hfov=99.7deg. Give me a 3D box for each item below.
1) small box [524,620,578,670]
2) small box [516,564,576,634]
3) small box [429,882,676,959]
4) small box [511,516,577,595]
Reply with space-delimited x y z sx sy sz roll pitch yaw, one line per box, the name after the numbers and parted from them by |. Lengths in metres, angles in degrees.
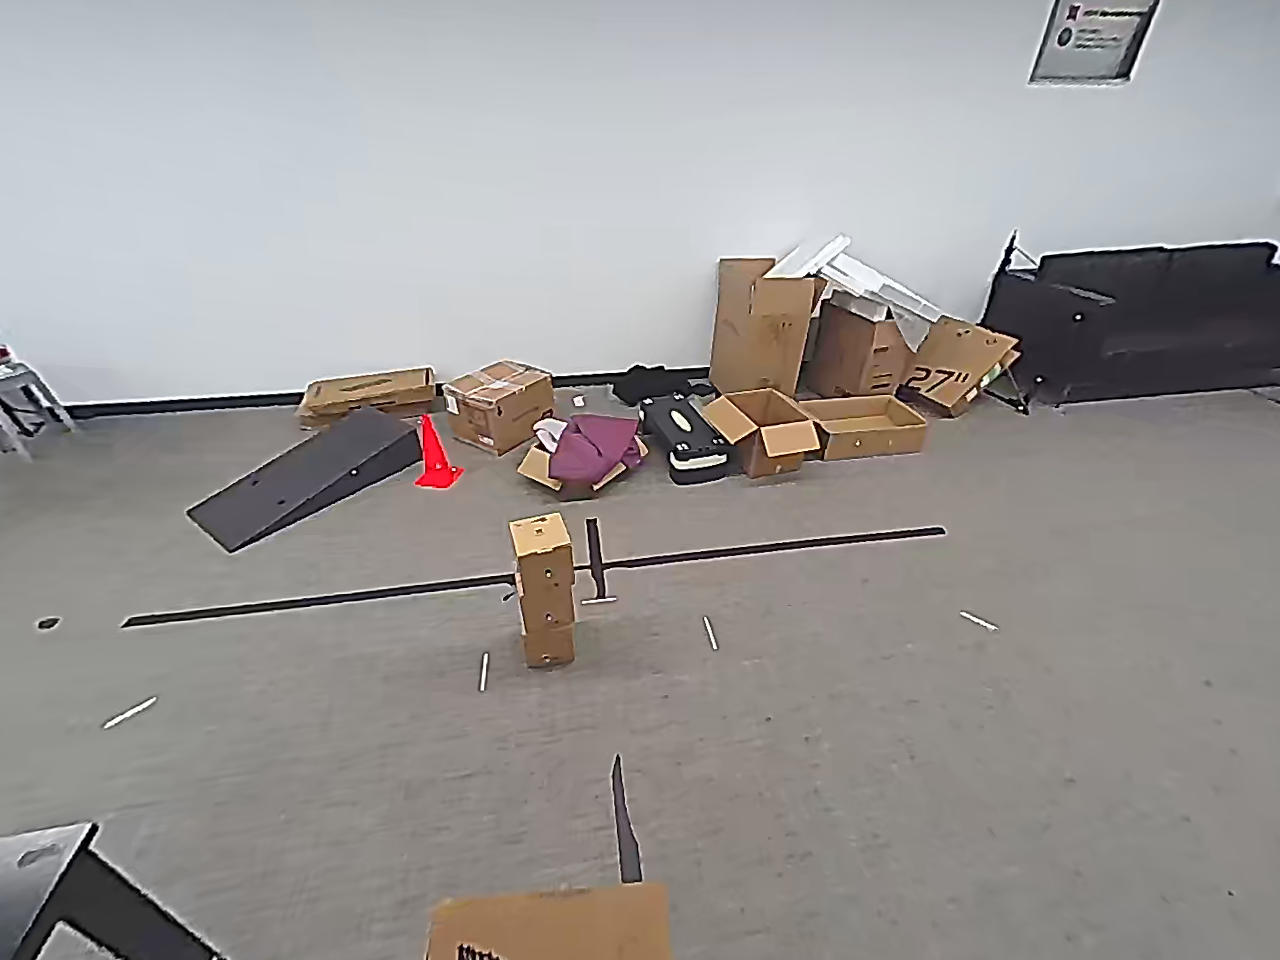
-0.312 0.526 1.877 0.168 0.176 0.179 -8 35 -10 | small box
-0.313 0.380 1.799 0.168 0.176 0.179 -11 34 -14 | small box
-0.063 0.423 0.406 0.179 0.176 0.168 0 45 -7 | small box
-0.303 0.243 1.708 0.168 0.176 0.179 -12 35 -15 | small box
